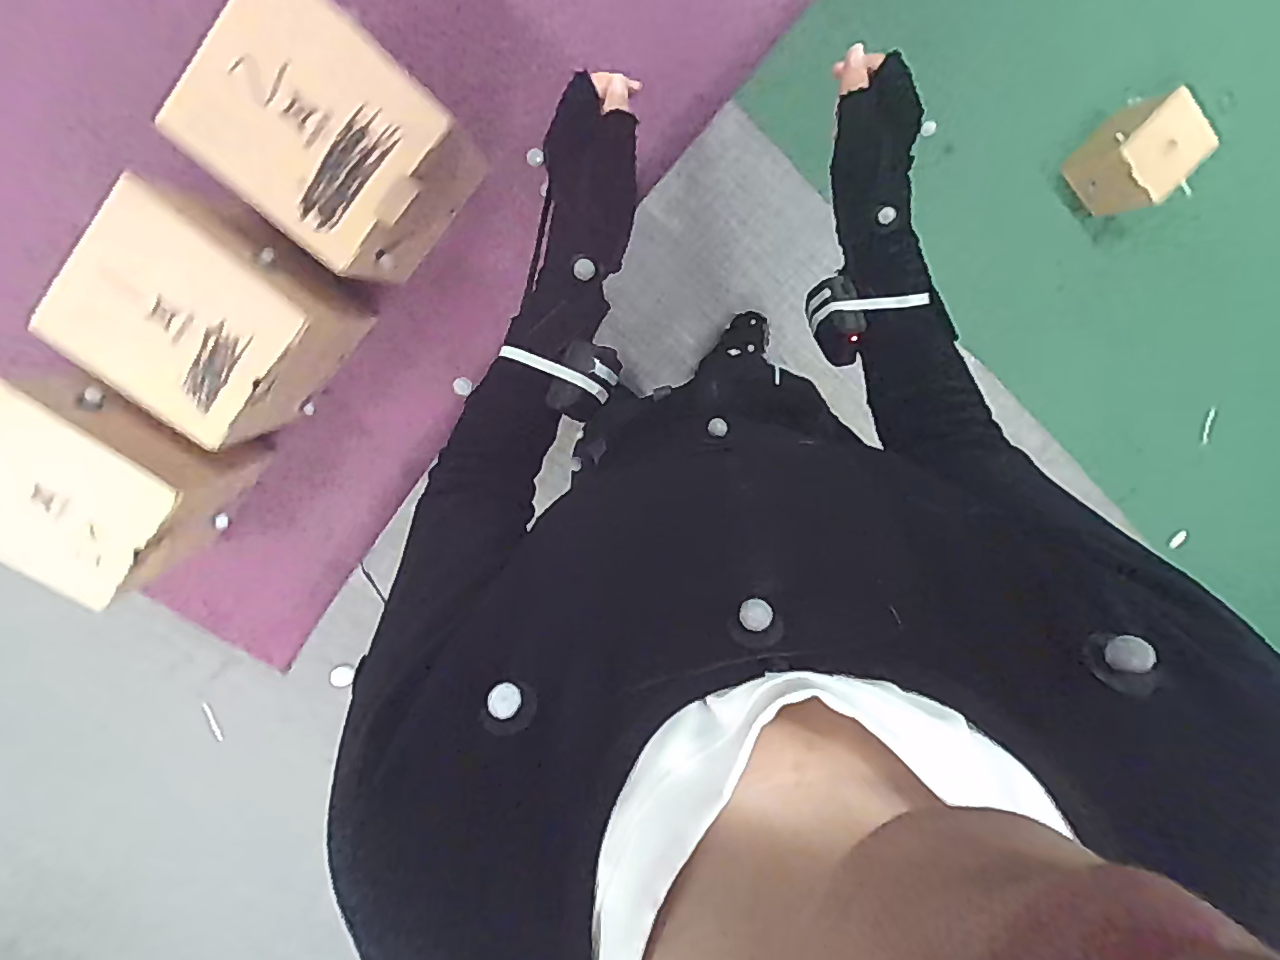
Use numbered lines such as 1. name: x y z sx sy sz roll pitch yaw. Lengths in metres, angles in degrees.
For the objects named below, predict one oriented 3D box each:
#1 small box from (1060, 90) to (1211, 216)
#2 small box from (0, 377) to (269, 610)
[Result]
1. small box: 1.175 -0.771 1.296 0.168 0.176 0.179 38 100 -14
2. small box: -0.571 0.002 0.597 0.179 0.176 0.168 39 100 -15
